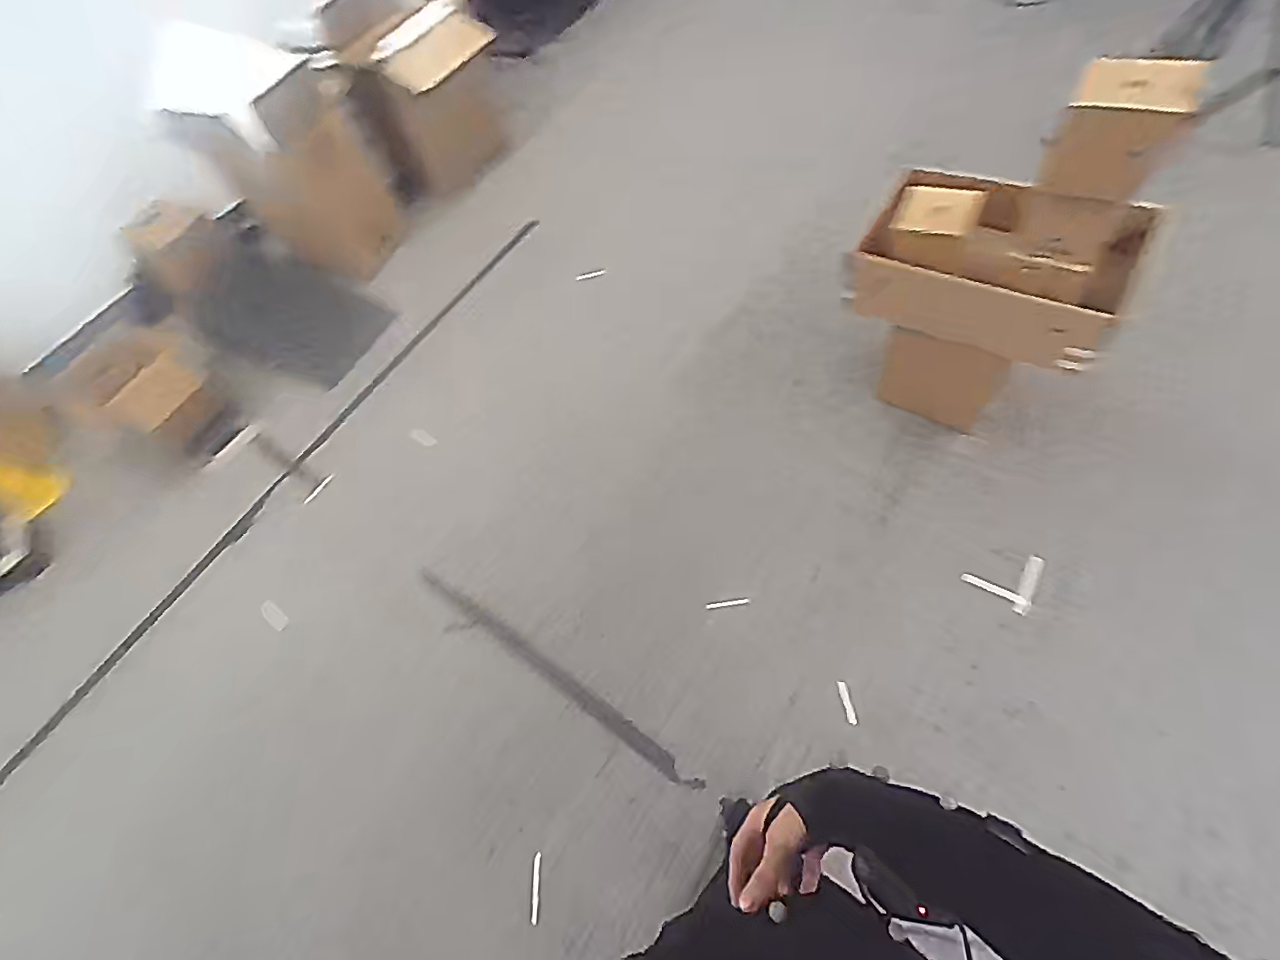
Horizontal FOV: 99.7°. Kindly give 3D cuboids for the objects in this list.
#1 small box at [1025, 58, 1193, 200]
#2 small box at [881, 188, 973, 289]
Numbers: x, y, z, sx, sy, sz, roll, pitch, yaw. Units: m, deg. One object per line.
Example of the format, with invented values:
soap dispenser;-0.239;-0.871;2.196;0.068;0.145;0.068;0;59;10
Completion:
small box;0.892;-0.671;1.042;0.179;0.176;0.168;24;68;25
small box;0.759;-0.645;1.447;0.168;0.176;0.179;18;67;23
